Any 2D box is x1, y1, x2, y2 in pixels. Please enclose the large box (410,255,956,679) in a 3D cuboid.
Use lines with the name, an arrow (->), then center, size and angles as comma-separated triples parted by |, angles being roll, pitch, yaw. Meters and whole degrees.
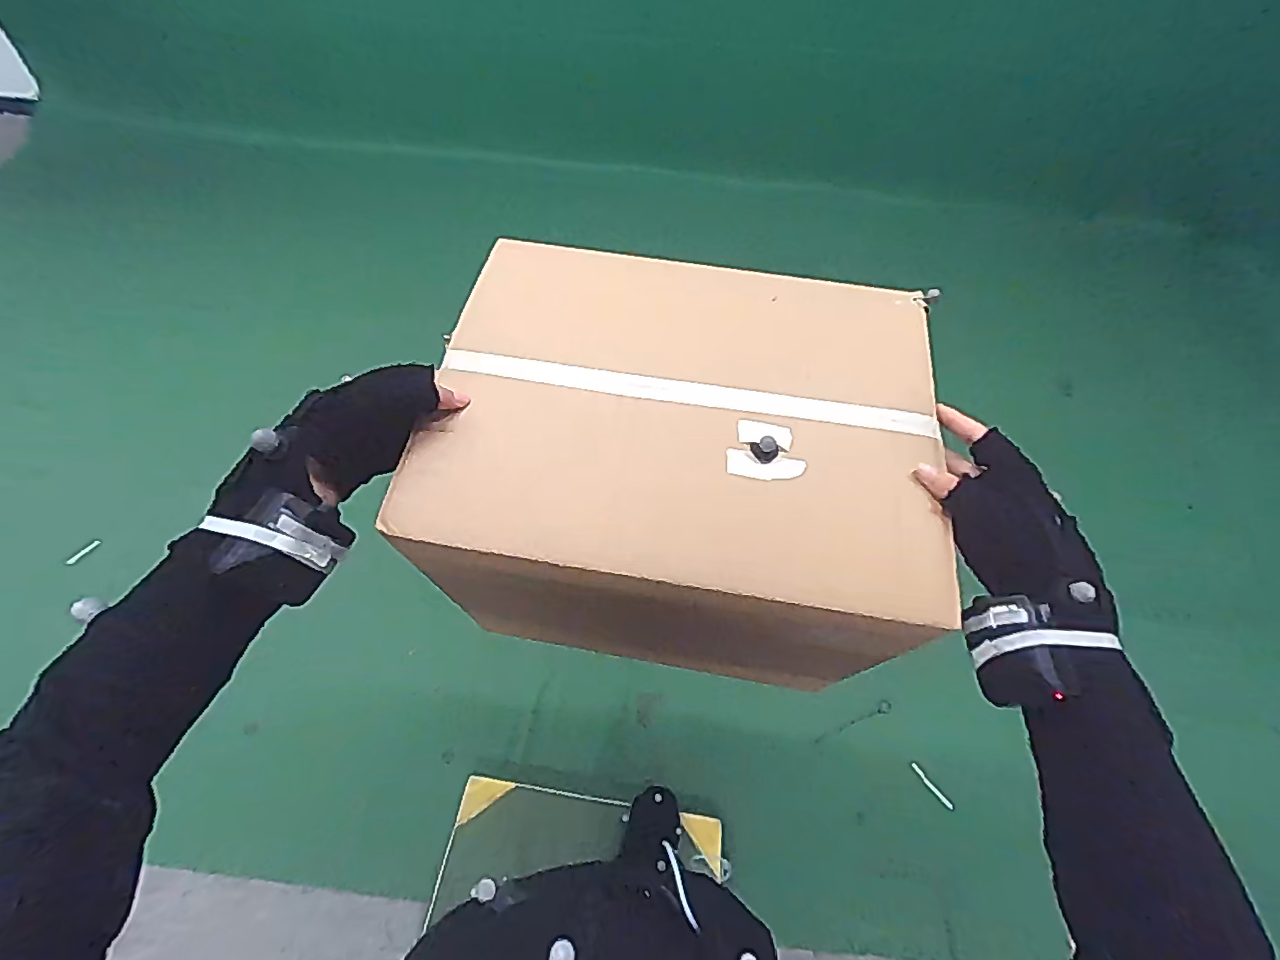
large box -> 0.041, 0.006, 0.585 | 0.408, 0.320, 0.320 | 9, 62, 3
